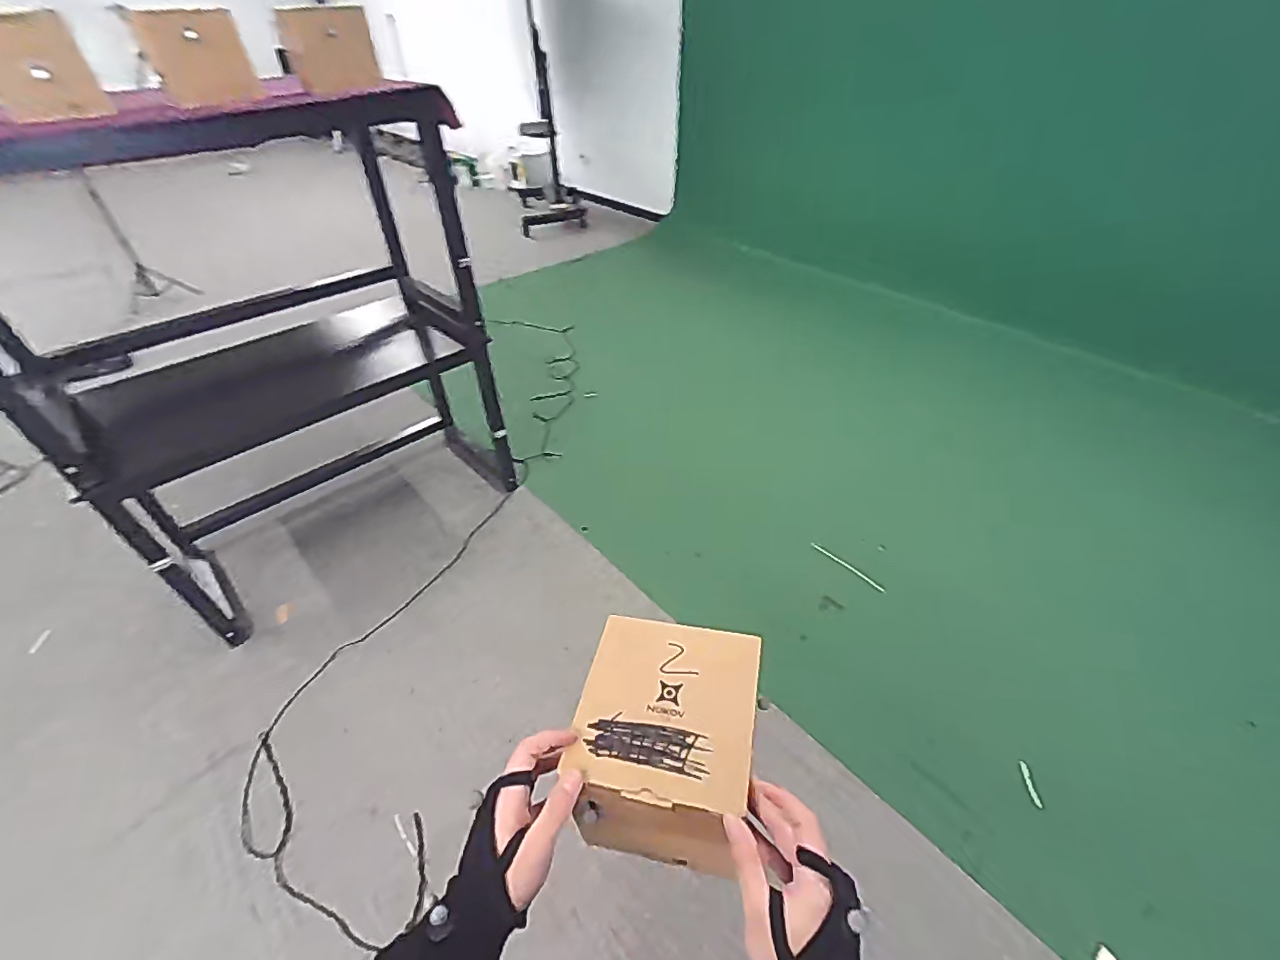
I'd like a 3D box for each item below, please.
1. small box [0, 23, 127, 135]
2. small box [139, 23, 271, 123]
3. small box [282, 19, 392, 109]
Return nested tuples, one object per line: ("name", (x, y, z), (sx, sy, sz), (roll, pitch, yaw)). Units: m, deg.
("small box", (-1.187, -0.806, 1.089), (0.168, 0.176, 0.179), (-32, 49, -32))
("small box", (-0.981, -0.932, 1.235), (0.179, 0.176, 0.168), (-32, 49, -30))
("small box", (-0.766, -1.061, 1.377), (0.179, 0.176, 0.168), (-29, 49, -28))
